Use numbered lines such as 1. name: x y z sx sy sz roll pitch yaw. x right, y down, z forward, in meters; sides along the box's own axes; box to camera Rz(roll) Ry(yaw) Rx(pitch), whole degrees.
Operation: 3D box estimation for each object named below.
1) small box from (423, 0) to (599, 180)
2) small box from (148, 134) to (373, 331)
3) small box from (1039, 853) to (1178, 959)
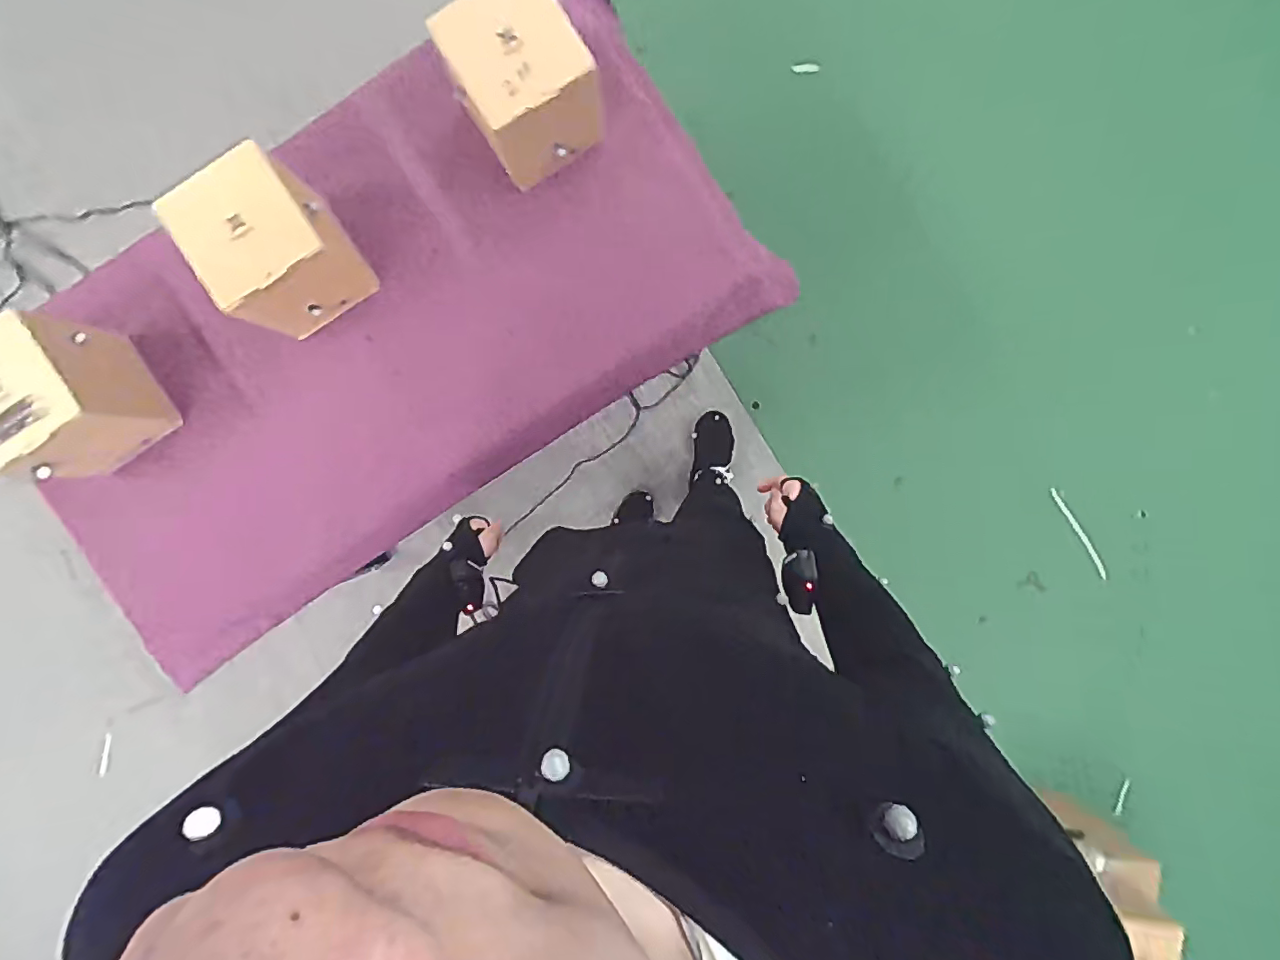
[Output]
1. small box: -0.175 -0.591 0.793 0.168 0.176 0.179 -32 92 2
2. small box: -0.544 -0.350 0.802 0.168 0.176 0.179 -34 93 0
3. small box: 1.085 1.014 1.266 0.179 0.176 0.168 6 93 -1
